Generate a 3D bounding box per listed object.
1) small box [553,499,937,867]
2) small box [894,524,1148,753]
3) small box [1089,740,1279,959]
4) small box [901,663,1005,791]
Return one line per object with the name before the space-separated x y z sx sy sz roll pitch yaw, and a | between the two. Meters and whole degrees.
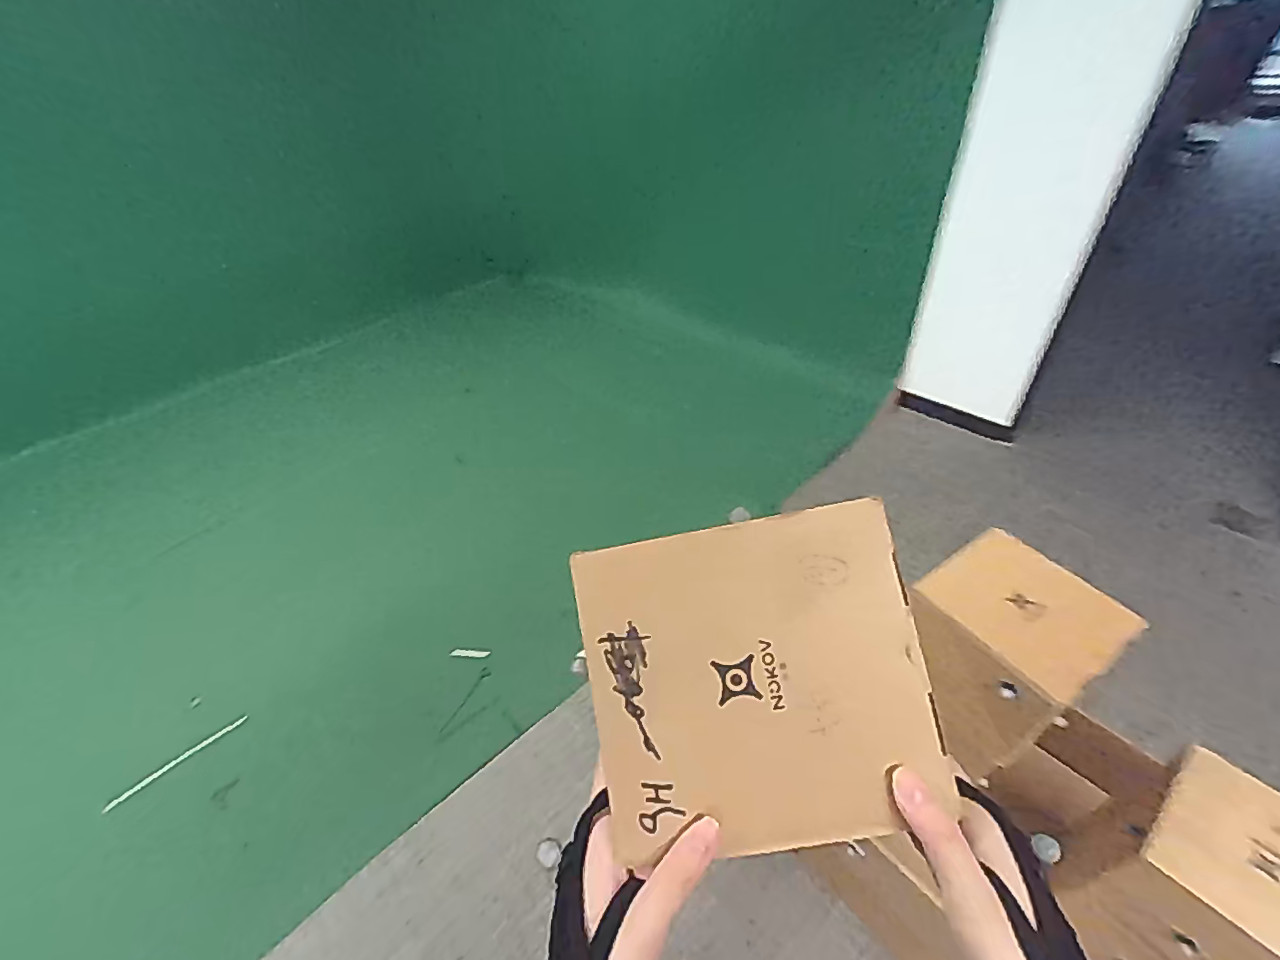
small box | 0.056 0.115 0.364 0.179 0.176 0.168 -12 80 4
small box | 0.444 0.193 0.667 0.168 0.176 0.179 -26 48 -19
small box | 0.650 0.441 0.601 0.179 0.176 0.168 -33 48 -24
small box | 0.460 0.307 0.782 0.179 0.176 0.168 -28 47 -22
